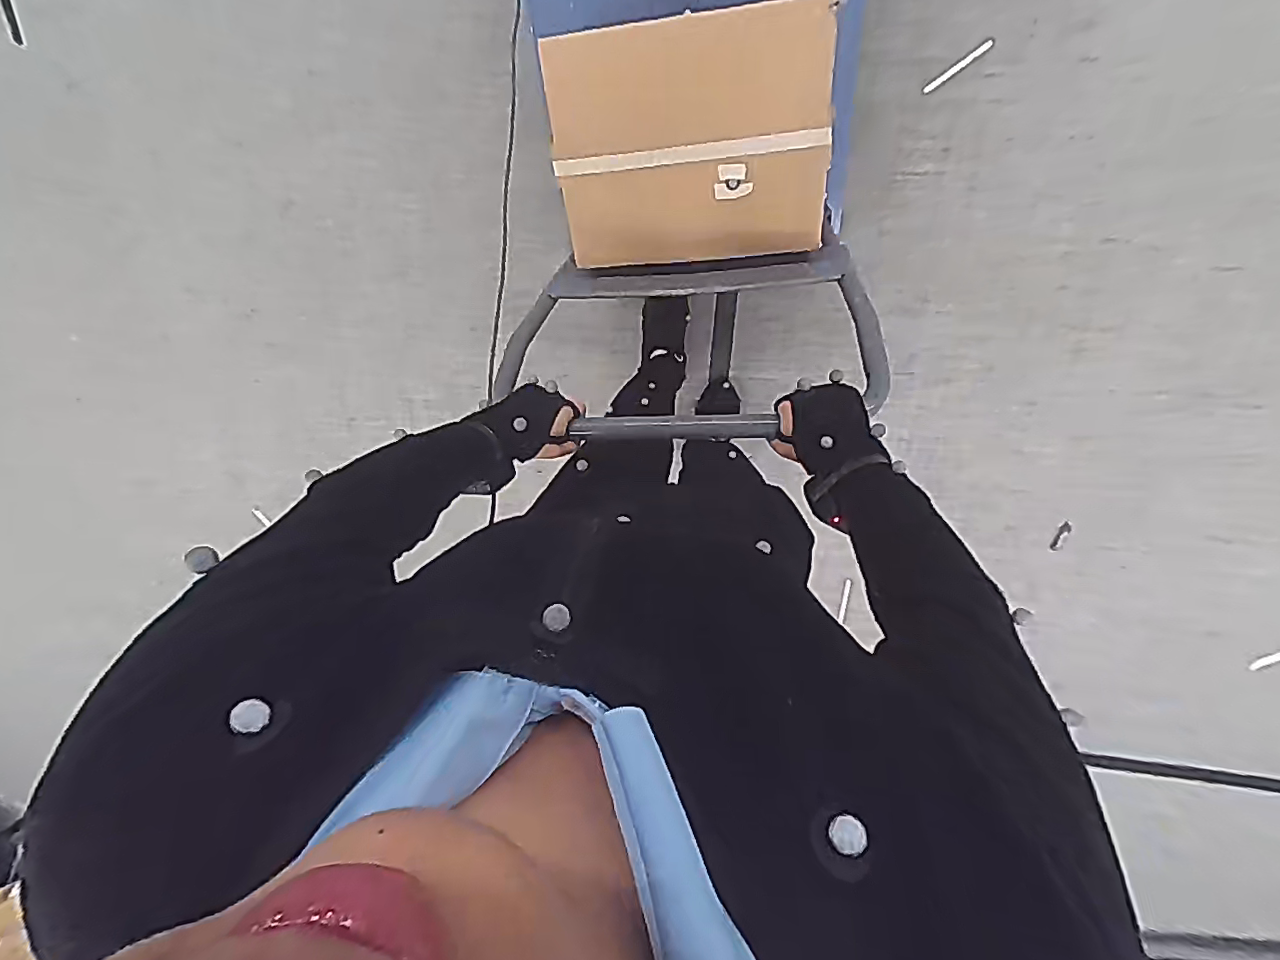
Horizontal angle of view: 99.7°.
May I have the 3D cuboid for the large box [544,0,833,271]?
[{"bbox_3d":[0.093,-0.583,0.939,0.408,0.320,0.320,-2,127,10],"label":"large box"}]
